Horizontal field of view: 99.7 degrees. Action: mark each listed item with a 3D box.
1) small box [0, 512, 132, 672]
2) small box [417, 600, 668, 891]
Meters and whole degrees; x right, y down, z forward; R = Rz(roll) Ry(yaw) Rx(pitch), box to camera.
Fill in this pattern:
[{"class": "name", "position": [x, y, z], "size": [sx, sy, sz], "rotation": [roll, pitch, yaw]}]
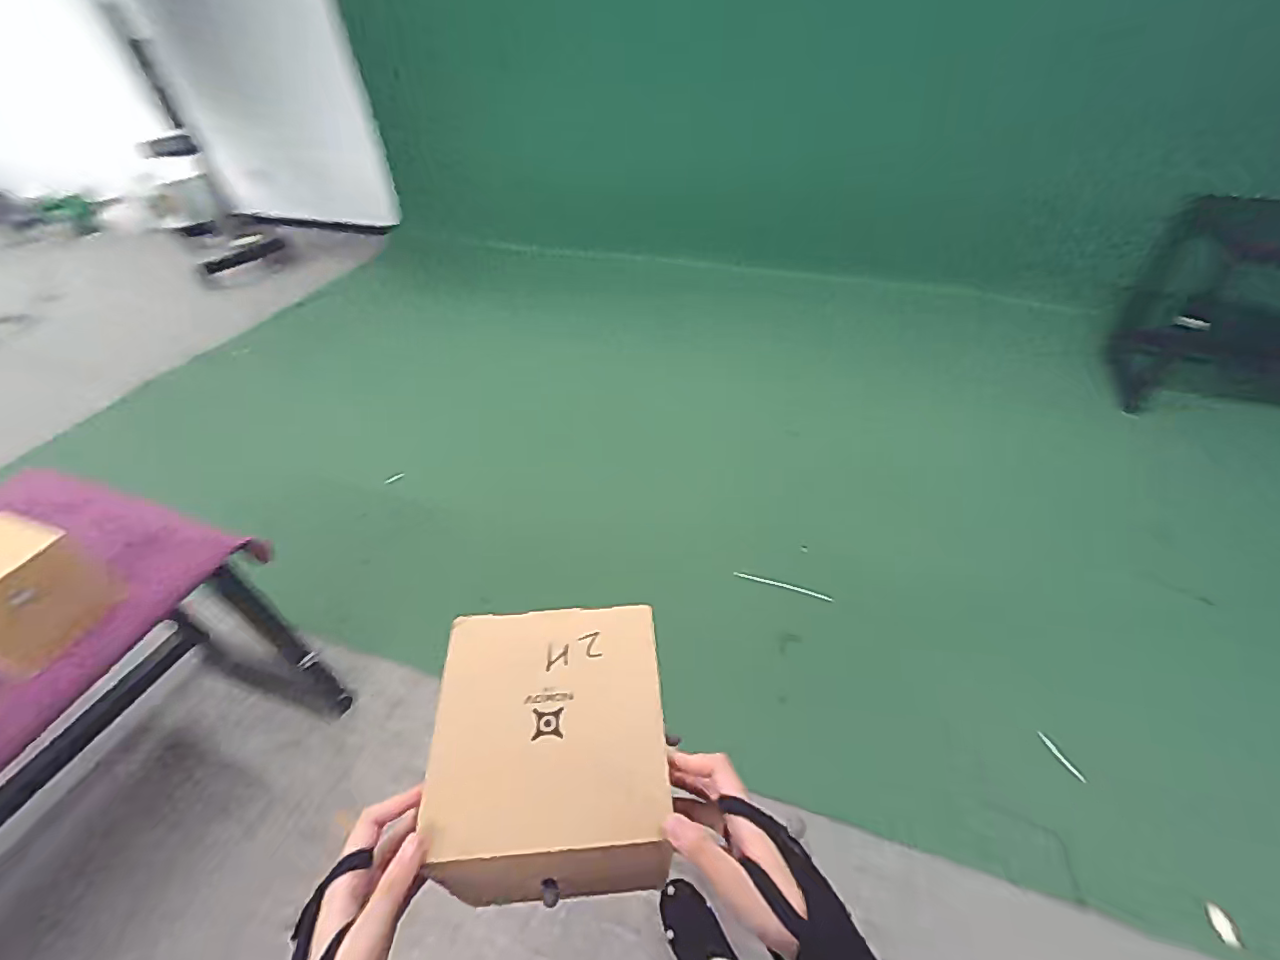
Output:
[{"class": "small box", "position": [-1.018, 0.186, 0.903], "size": [0.168, 0.176, 0.179], "rotation": [13, 47, 15]}, {"class": "small box", "position": [-0.067, 0.226, 0.458], "size": [0.168, 0.176, 0.179], "rotation": [-3, 44, -4]}]
